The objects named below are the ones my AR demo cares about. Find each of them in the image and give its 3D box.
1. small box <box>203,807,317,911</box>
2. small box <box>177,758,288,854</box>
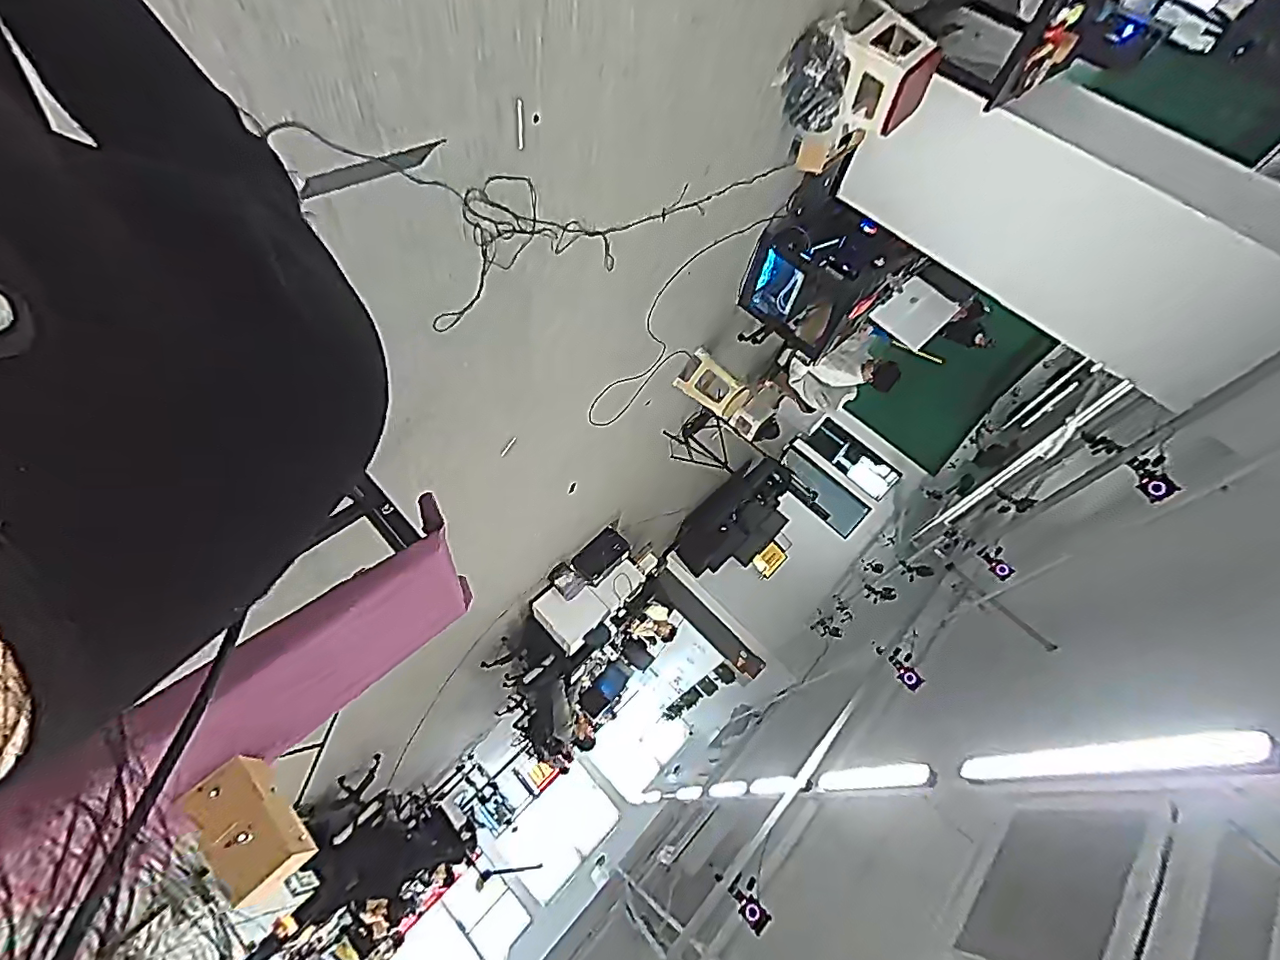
[{"bbox_3d":[-1.044,1.035,1.495,0.168,0.176,0.179,-41,161,-26],"label":"small box"},{"bbox_3d":[-1.155,0.924,1.539,0.168,0.176,0.179,-39,161,-28],"label":"small box"}]
